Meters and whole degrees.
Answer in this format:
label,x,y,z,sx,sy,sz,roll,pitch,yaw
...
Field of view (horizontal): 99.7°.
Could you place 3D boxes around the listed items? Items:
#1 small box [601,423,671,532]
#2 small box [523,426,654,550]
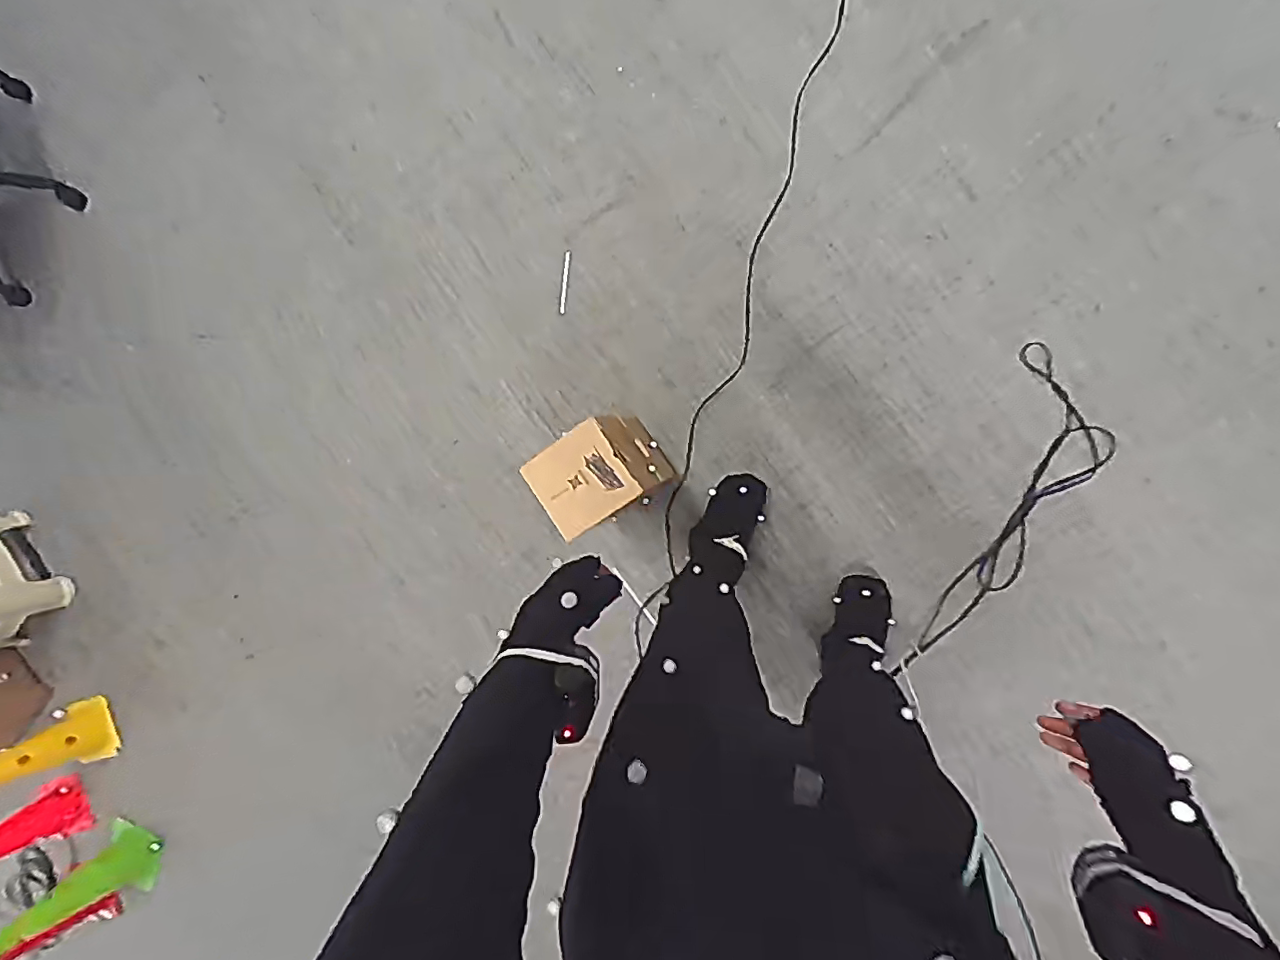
label,x,y,z,sx,sy,sz,roll,pitch,yaw
small box,-0.044,-0.008,1.208,0.179,0.176,0.168,-38,84,12
small box,-0.087,0.006,1.047,0.179,0.176,0.168,-34,87,14
